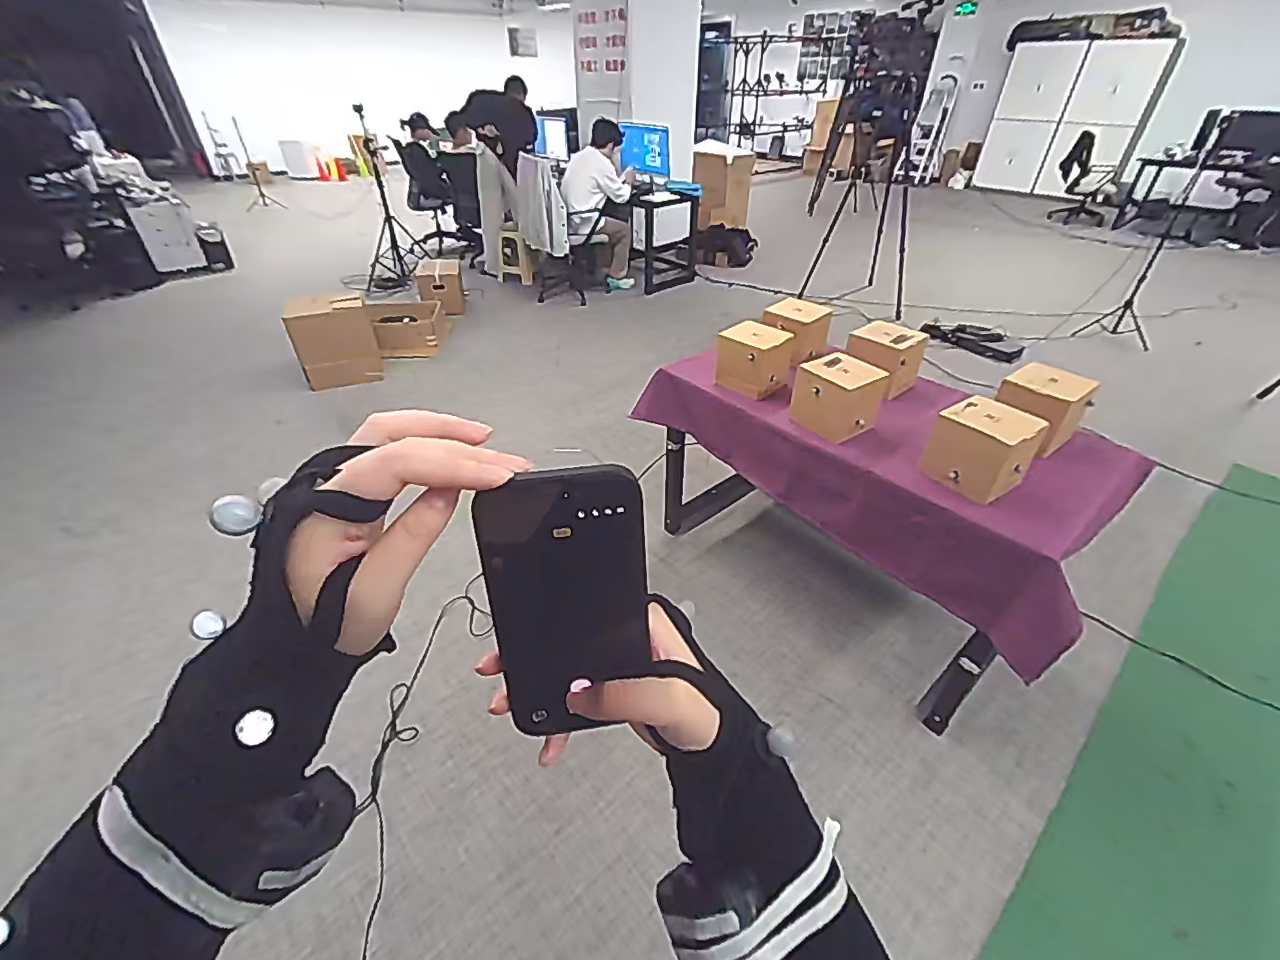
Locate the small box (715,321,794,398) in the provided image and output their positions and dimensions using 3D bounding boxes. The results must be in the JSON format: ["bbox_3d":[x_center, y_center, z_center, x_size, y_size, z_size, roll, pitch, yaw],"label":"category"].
[{"bbox_3d":[0.354,-0.378,1.699,0.179,0.176,0.168,31,46,33],"label":"small box"}]

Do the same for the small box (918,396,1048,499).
[{"bbox_3d":[0.811,-0.073,1.293,0.168,0.176,0.179,-21,42,-26],"label":"small box"}]

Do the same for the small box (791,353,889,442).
[{"bbox_3d":[0.546,-0.230,1.501,0.168,0.176,0.179,-22,43,-27],"label":"small box"}]

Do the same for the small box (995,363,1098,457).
[{"bbox_3d":[1.060,-0.188,1.445,0.179,0.176,0.168,-25,43,-28],"label":"small box"}]
